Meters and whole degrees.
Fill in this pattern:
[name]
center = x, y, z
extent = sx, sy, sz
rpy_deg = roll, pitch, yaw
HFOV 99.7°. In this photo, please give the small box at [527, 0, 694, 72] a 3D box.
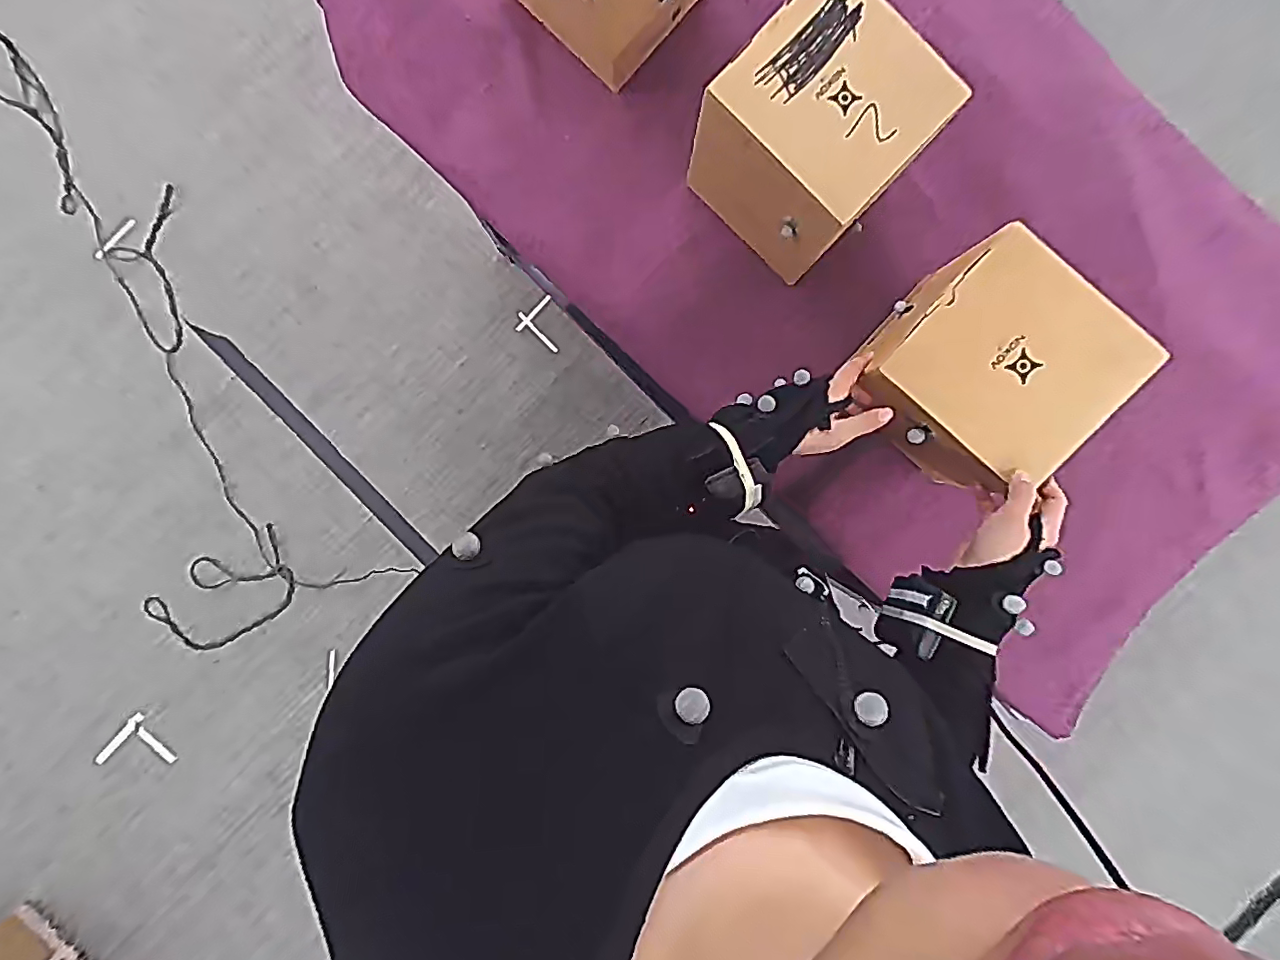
[small box]
center = -0.032, -0.571, 0.549
extent = 0.179, 0.176, 0.168
rpy_deg = 42, 91, -4
